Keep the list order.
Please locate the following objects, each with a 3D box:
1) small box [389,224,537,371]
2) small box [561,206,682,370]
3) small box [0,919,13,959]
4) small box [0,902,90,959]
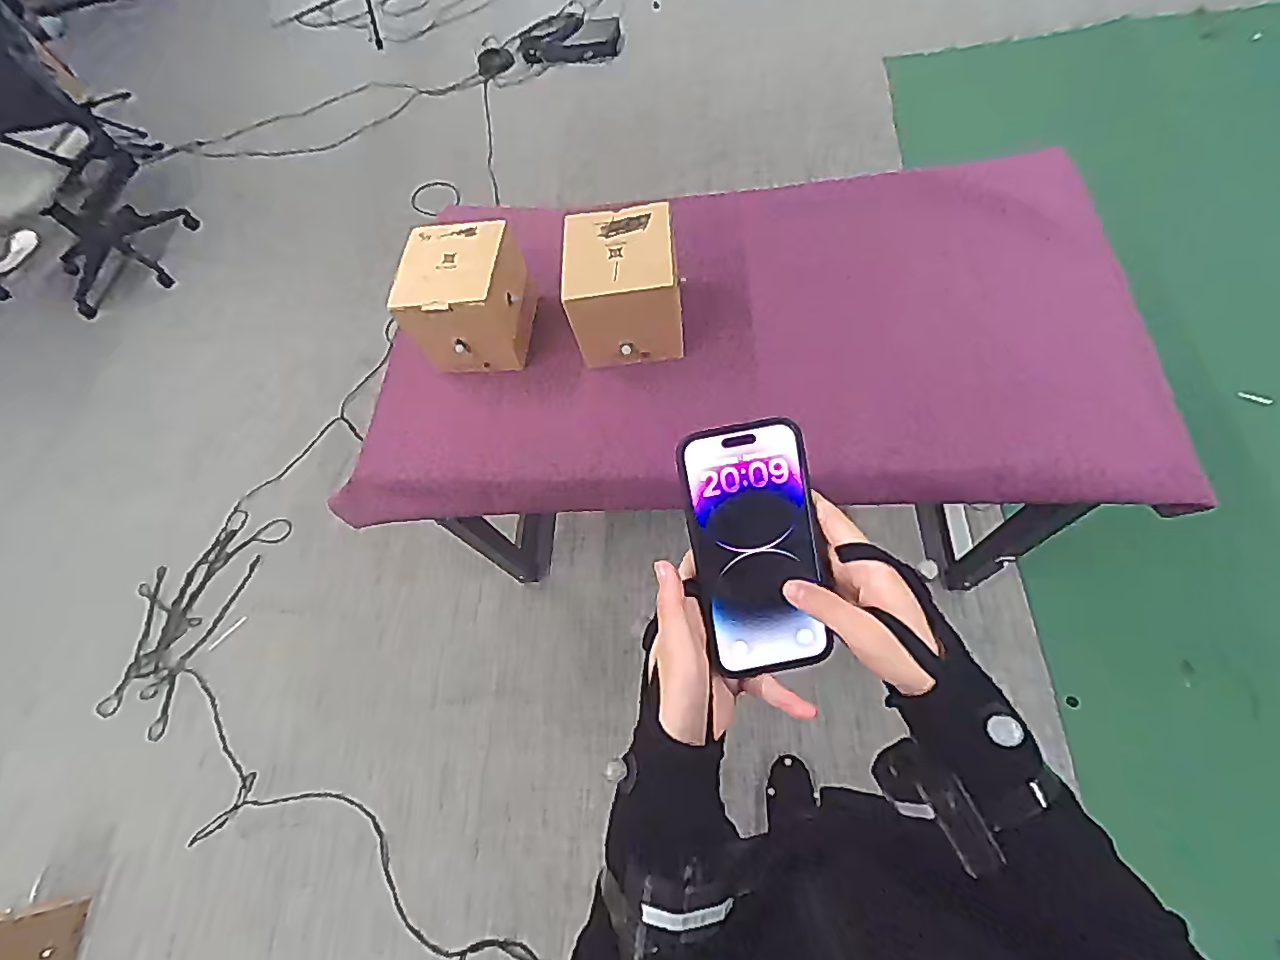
[{"bbox_3d":[-0.287,-0.299,0.920,0.168,0.176,0.179,0,65,10],"label":"small box"},{"bbox_3d":[-0.022,-0.303,0.874,0.168,0.176,0.179,-5,64,8],"label":"small box"},{"bbox_3d":[-1.477,1.047,1.112,0.168,0.176,0.179,-13,63,3],"label":"small box"},{"bbox_3d":[-1.464,1.111,1.262,0.179,0.176,0.168,-9,63,6],"label":"small box"}]
